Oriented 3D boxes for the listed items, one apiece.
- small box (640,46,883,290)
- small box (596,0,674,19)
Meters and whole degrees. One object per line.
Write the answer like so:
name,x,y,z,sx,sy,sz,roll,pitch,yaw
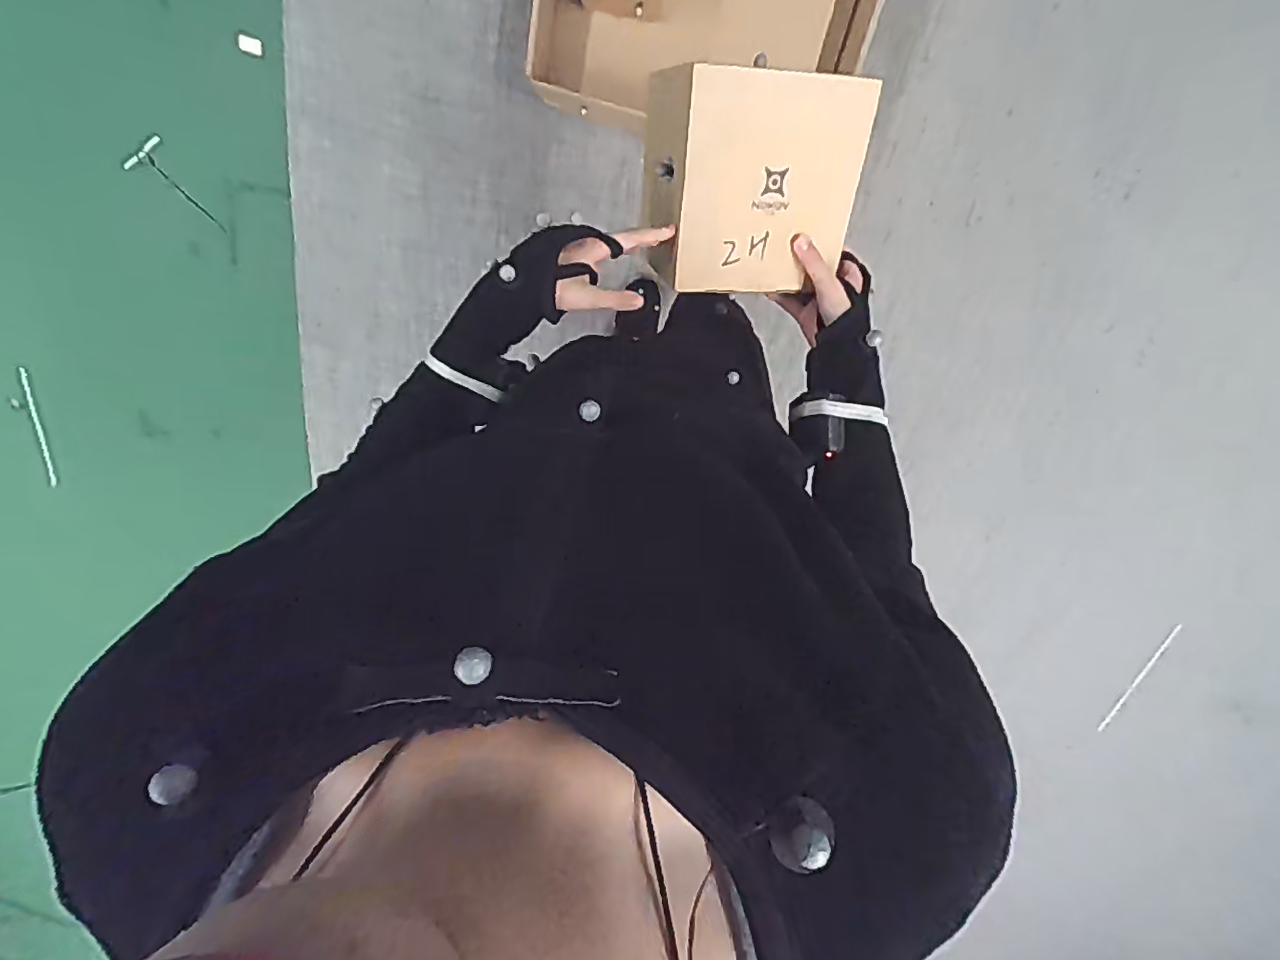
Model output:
small box,0.098,-0.300,0.534,0.168,0.176,0.179,-2,124,-11
small box,-0.008,-0.976,0.976,0.168,0.176,0.179,11,116,-2
